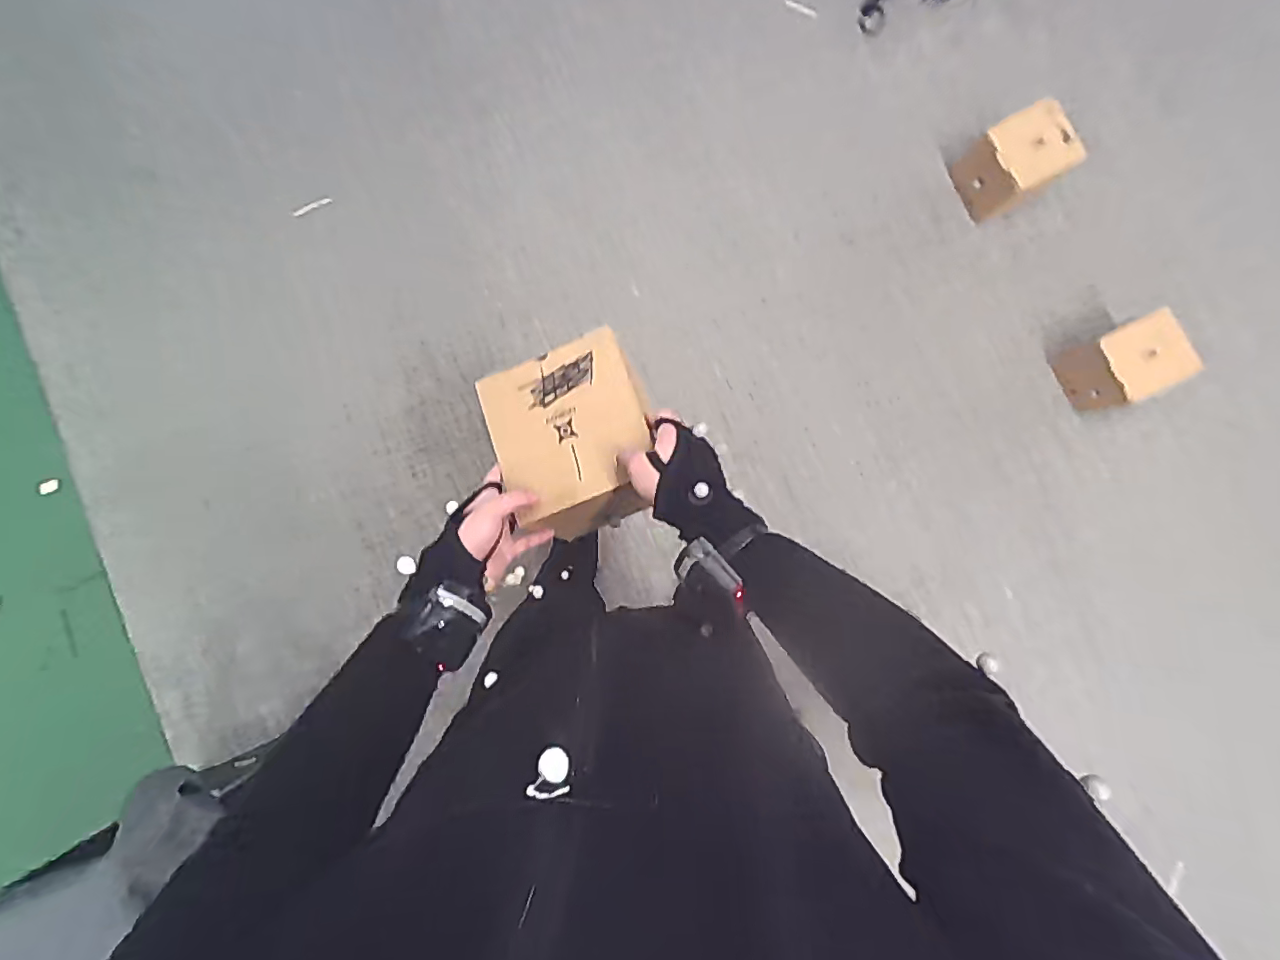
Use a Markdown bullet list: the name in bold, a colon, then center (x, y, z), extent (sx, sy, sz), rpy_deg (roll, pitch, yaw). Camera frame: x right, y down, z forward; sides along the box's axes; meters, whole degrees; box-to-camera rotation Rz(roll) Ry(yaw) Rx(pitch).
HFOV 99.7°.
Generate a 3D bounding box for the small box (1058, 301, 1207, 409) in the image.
- **small box**: center (1.142, -0.284, 1.278), extent (0.179, 0.176, 0.168), rpy_deg (-29, 87, 0)

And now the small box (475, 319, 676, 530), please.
- **small box**: center (-0.068, -0.053, 0.646), extent (0.168, 0.176, 0.179), rpy_deg (-21, 75, 8)

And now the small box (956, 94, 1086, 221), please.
- **small box**: center (0.906, -0.771, 1.313), extent (0.179, 0.176, 0.168), rpy_deg (-27, 87, 2)
